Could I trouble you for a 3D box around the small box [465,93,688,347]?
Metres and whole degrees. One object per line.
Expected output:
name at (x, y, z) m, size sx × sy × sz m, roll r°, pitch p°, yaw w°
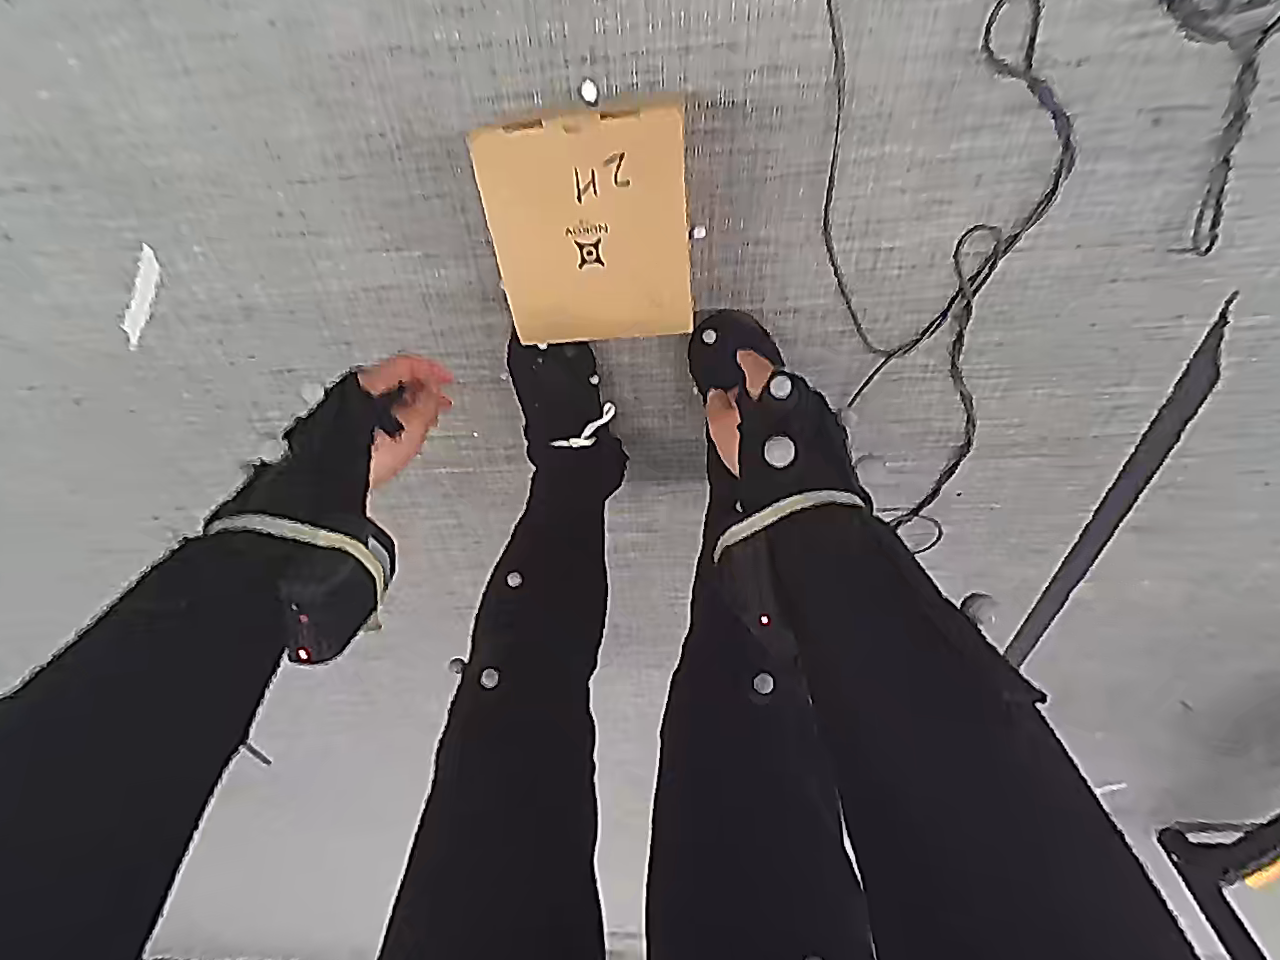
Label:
small box at (-0.039, -0.247, 0.514) m, size 0.168 × 0.176 × 0.179 m, roll -3°, pitch 129°, yaw 6°
